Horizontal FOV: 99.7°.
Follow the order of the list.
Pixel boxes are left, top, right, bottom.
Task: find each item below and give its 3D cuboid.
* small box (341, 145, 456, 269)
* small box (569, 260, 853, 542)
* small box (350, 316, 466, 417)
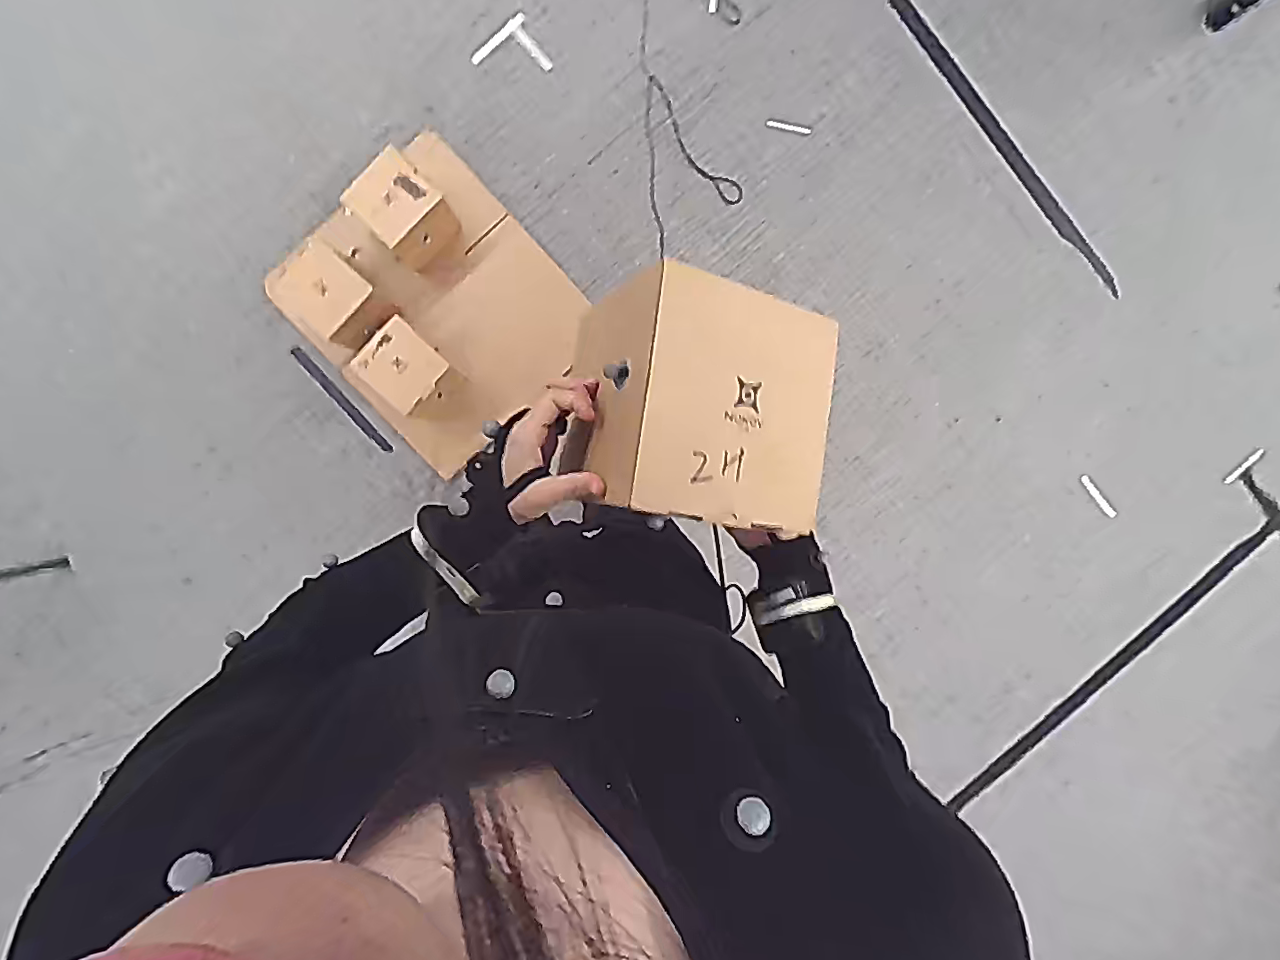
[{"bbox_3d":[-0.573,-0.654,1.318,0.168,0.176,0.179,44,90,-4],"label":"small box"},{"bbox_3d":[0.050,-0.051,0.464,0.168,0.176,0.179,11,86,-26],"label":"small box"},{"bbox_3d":[-0.559,-0.271,1.336,0.179,0.176,0.168,43,89,-6],"label":"small box"}]
